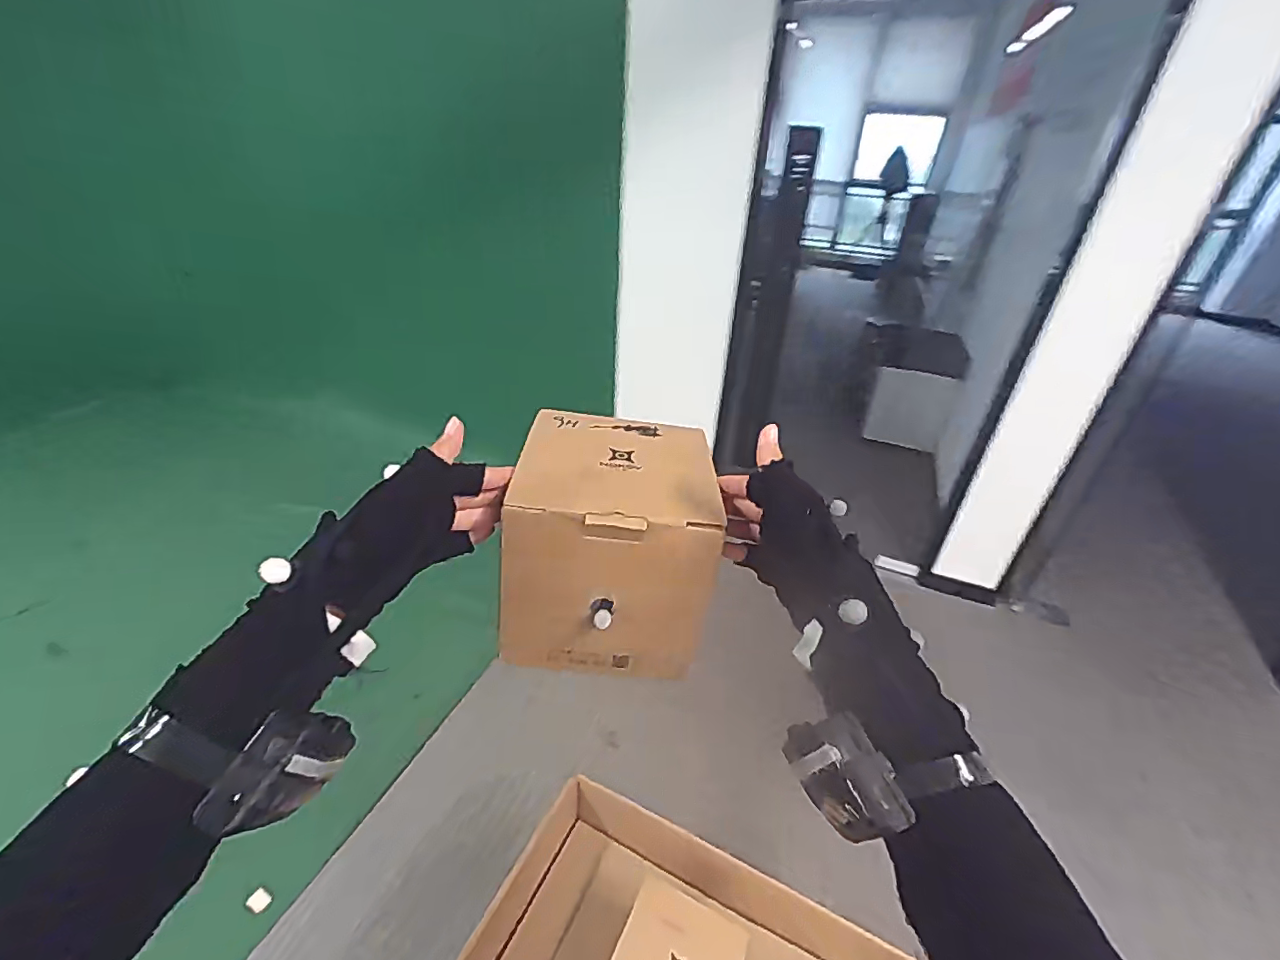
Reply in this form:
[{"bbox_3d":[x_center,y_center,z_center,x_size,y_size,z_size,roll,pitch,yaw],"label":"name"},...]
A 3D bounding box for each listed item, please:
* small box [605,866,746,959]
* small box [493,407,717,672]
[{"bbox_3d":[0.035,0.719,0.775,0.168,0.176,0.179,20,34,18],"label":"small box"},{"bbox_3d":[-0.034,0.053,0.500,0.168,0.176,0.179,7,32,-5],"label":"small box"}]
